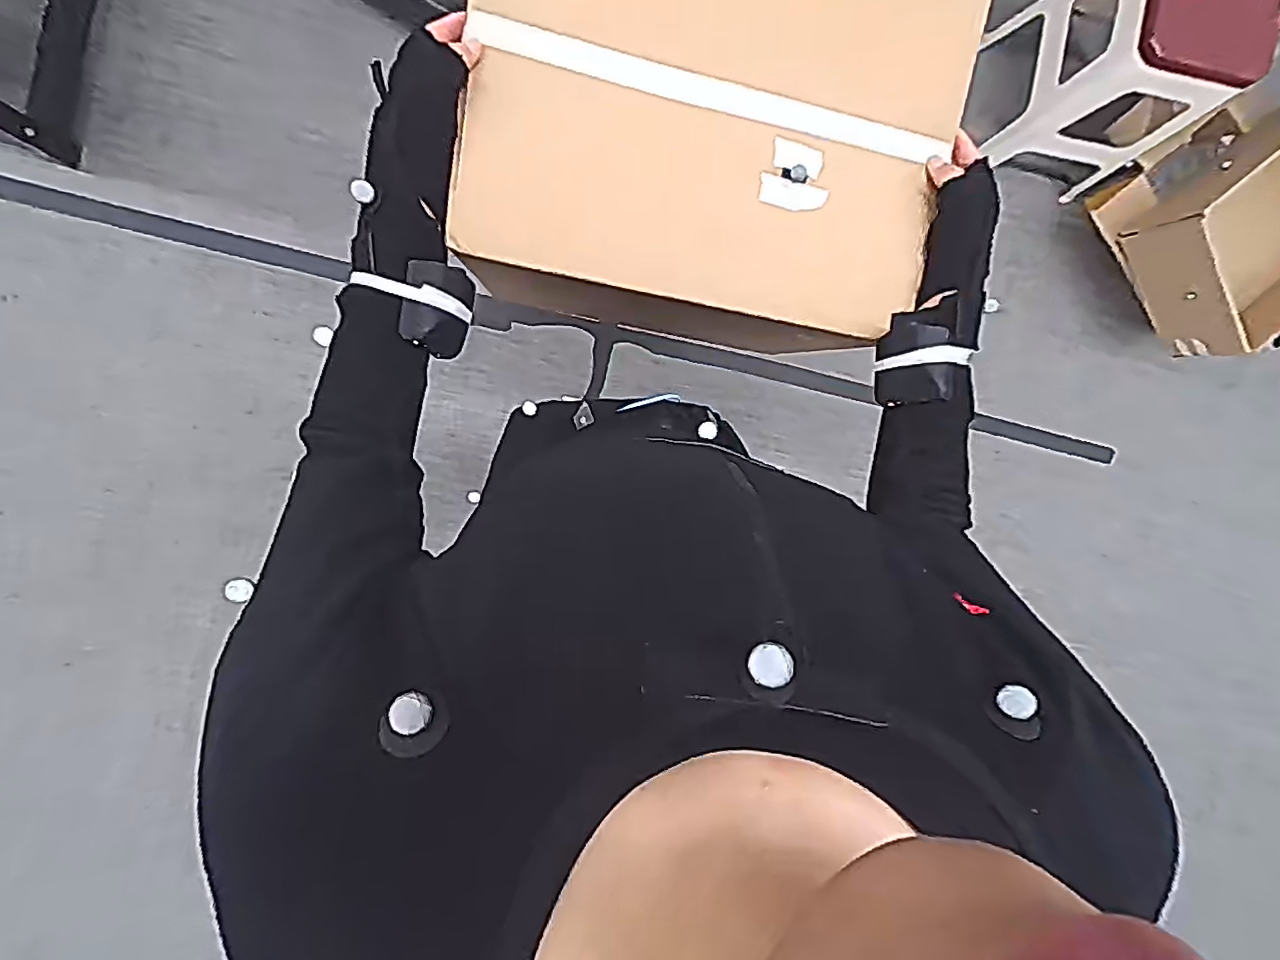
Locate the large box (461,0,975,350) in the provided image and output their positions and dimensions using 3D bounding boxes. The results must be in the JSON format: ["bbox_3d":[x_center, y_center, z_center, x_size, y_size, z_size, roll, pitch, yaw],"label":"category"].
[{"bbox_3d":[0.045,-0.334,0.589,0.408,0.320,0.320,8,101,-12],"label":"large box"}]
